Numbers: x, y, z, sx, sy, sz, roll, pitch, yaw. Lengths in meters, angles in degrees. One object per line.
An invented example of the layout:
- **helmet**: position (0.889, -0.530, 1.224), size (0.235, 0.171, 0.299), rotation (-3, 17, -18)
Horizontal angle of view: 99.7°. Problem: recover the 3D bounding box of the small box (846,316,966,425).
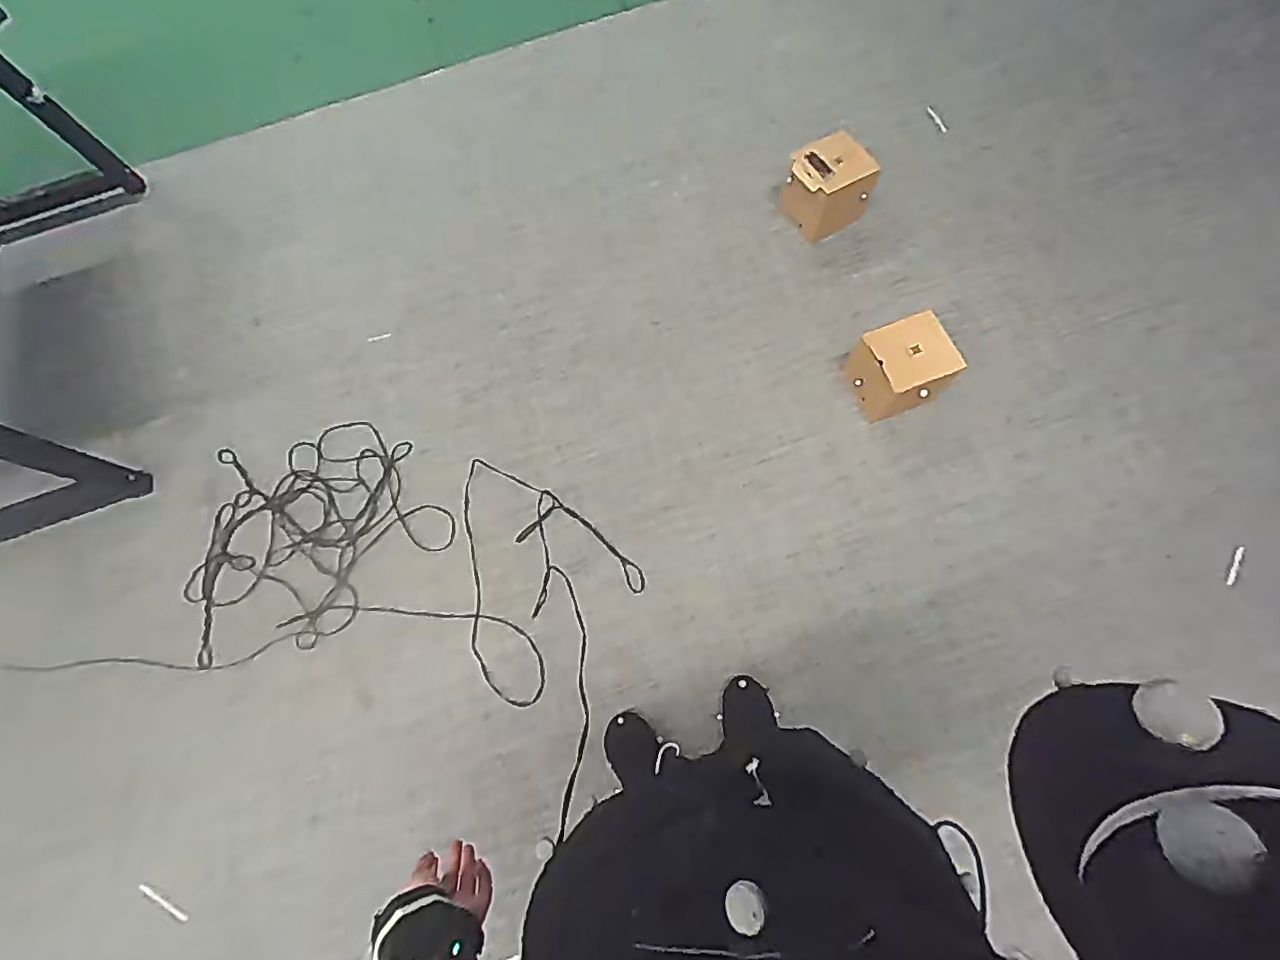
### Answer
- **small box**: position (0.631, -0.258, 1.305), size (0.179, 0.176, 0.168), rotation (-21, 71, -2)
